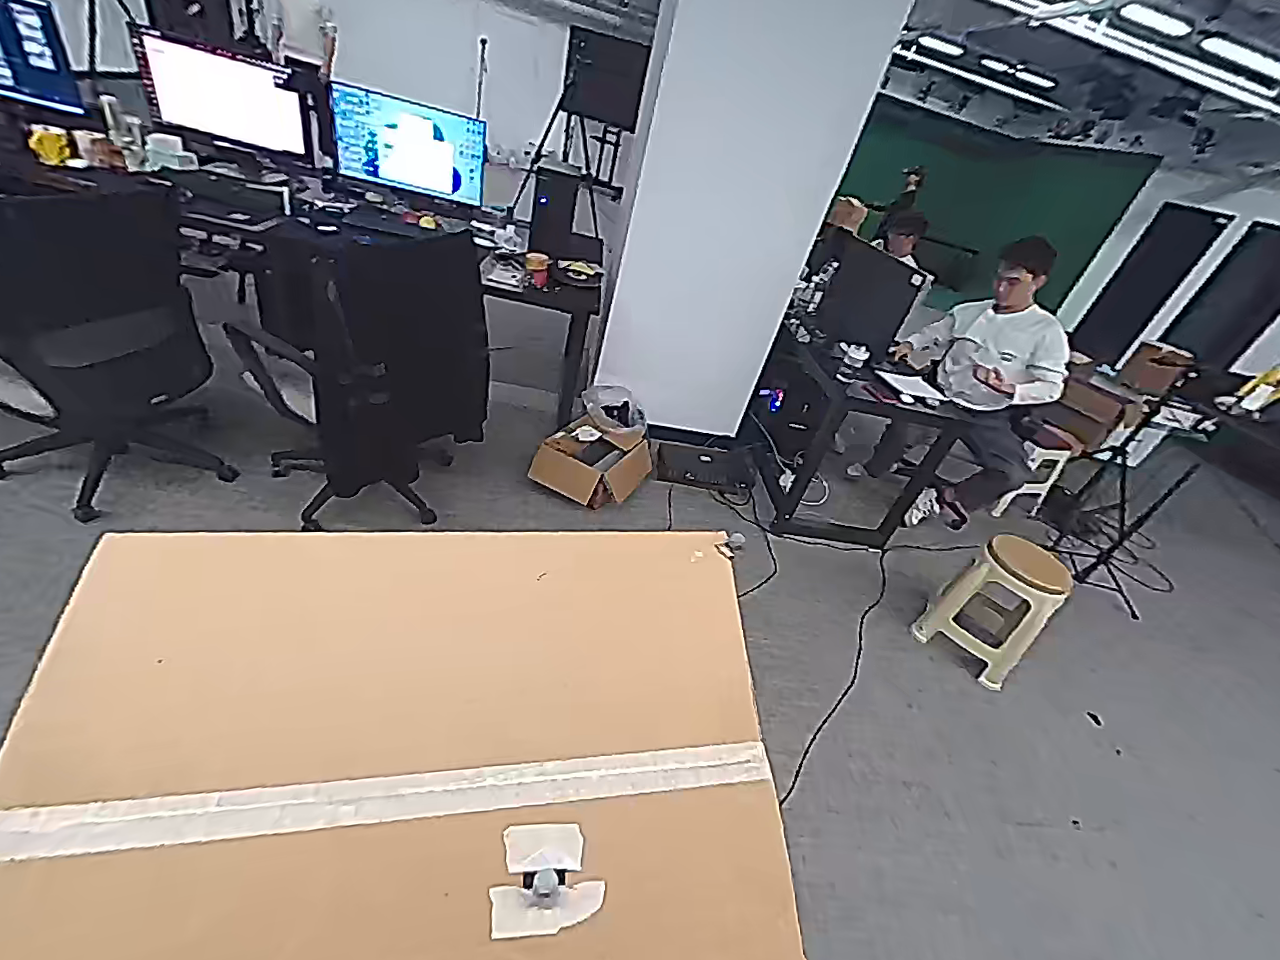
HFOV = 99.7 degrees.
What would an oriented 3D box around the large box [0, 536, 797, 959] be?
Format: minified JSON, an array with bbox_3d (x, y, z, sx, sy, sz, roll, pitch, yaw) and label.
[{"bbox_3d":[-0.147,0.251,0.430,0.408,0.320,0.320,1,61,-13],"label":"large box"}]
